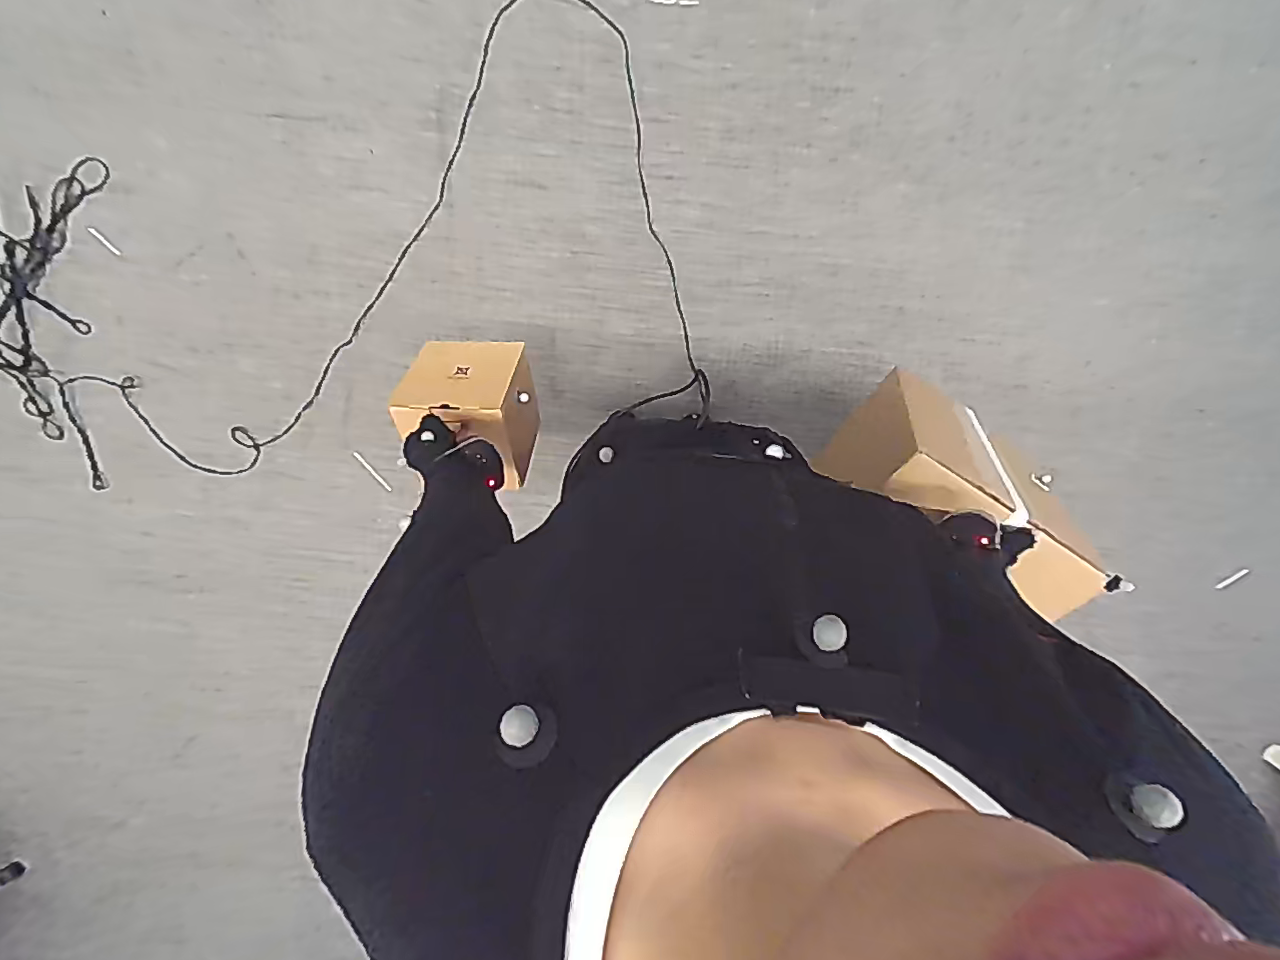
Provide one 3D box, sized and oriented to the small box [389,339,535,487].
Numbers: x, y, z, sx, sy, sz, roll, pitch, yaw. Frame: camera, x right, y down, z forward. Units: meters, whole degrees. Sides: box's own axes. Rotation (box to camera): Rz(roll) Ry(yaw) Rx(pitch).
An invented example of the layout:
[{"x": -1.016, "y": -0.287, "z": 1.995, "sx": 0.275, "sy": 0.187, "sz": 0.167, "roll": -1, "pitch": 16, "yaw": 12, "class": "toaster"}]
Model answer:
[{"x": -0.274, "y": -0.111, "z": 0.882, "sx": 0.168, "sy": 0.179, "sz": 0.176, "roll": 1, "pitch": 136, "yaw": 3, "class": "small box"}]
